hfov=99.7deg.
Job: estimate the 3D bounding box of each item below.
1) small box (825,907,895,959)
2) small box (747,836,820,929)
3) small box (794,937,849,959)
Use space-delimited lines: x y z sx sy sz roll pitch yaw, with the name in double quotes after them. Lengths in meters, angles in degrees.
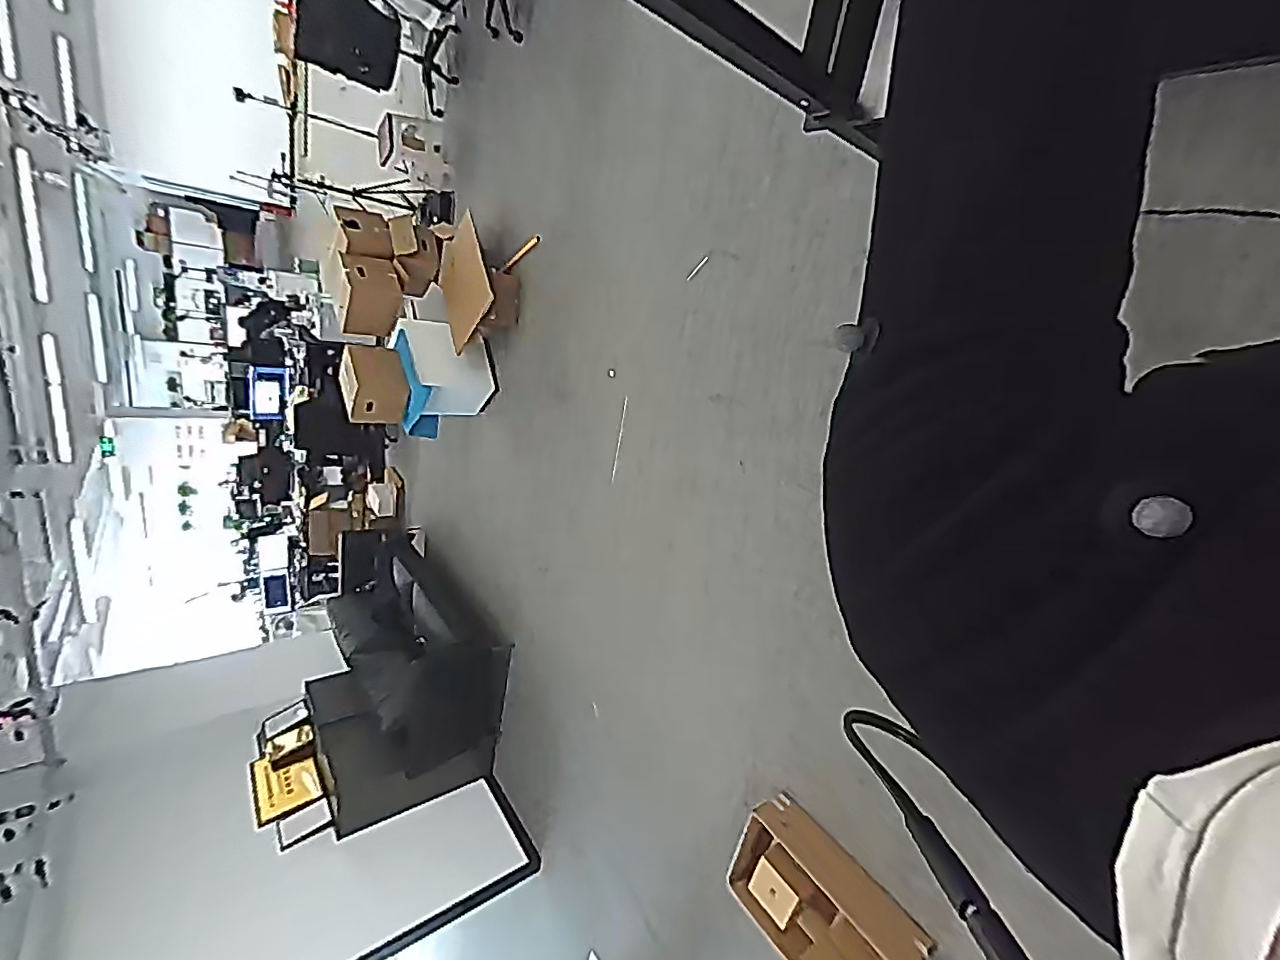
0.688 1.535 1.736 0.168 0.176 0.179 33 119 45 "small box"
0.517 1.428 1.933 0.168 0.176 0.179 34 119 43 "small box"
0.560 1.540 1.633 0.179 0.176 0.168 32 118 46 "small box"
